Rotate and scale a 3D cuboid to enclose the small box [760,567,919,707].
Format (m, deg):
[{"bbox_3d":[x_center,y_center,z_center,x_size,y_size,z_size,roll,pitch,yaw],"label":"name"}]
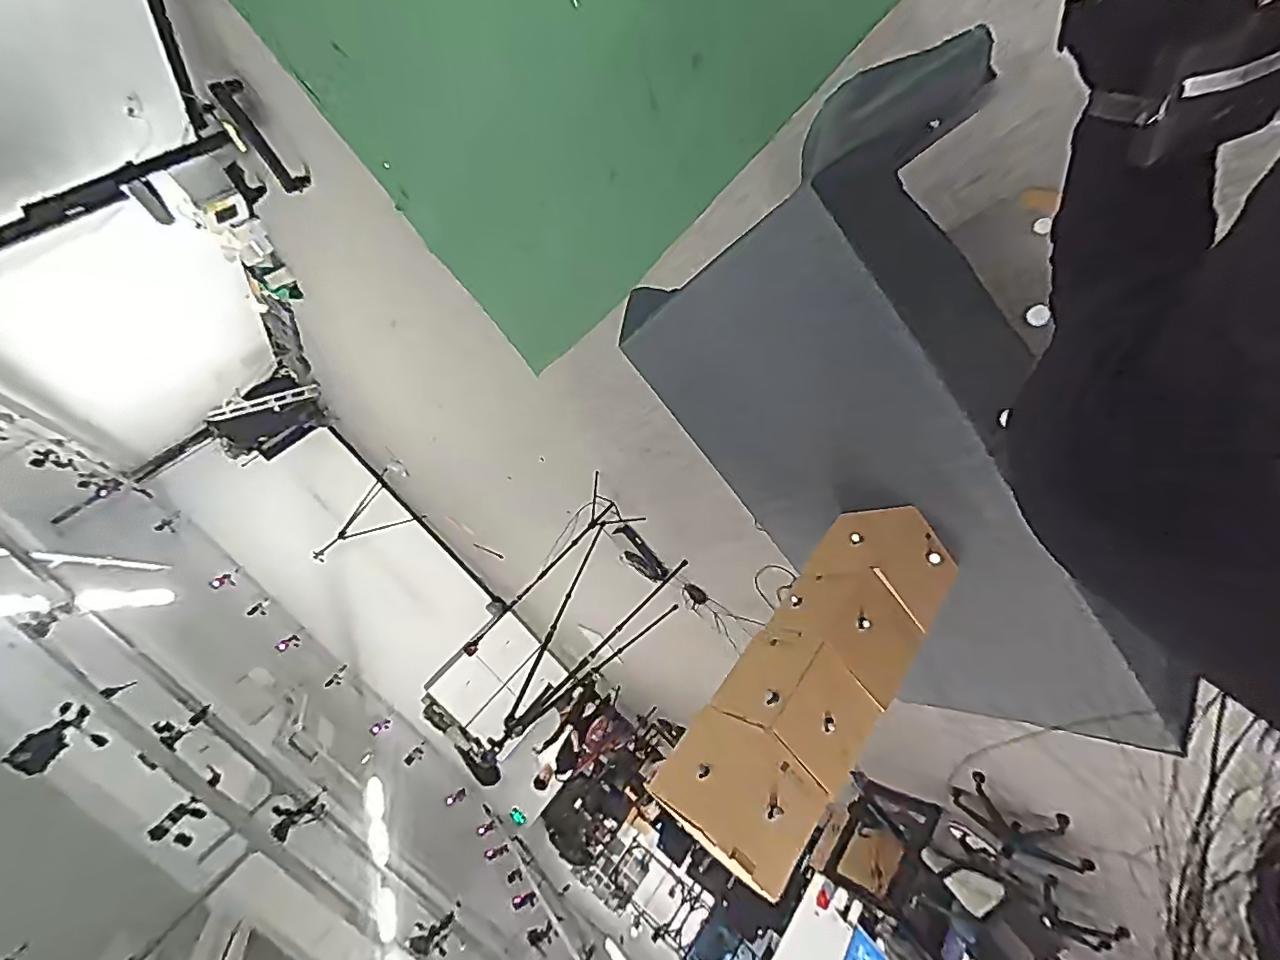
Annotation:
[{"bbox_3d":[0.360,0.270,0.975,0.179,0.176,0.168,50,154,-10],"label":"small box"}]

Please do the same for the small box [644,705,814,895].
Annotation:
[{"bbox_3d":[0.145,0.482,0.848,0.168,0.176,0.179,50,153,-11],"label":"small box"}]

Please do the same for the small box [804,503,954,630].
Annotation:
[{"bbox_3d":[0.462,0.164,1.045,0.168,0.176,0.179,51,152,-12],"label":"small box"}]
